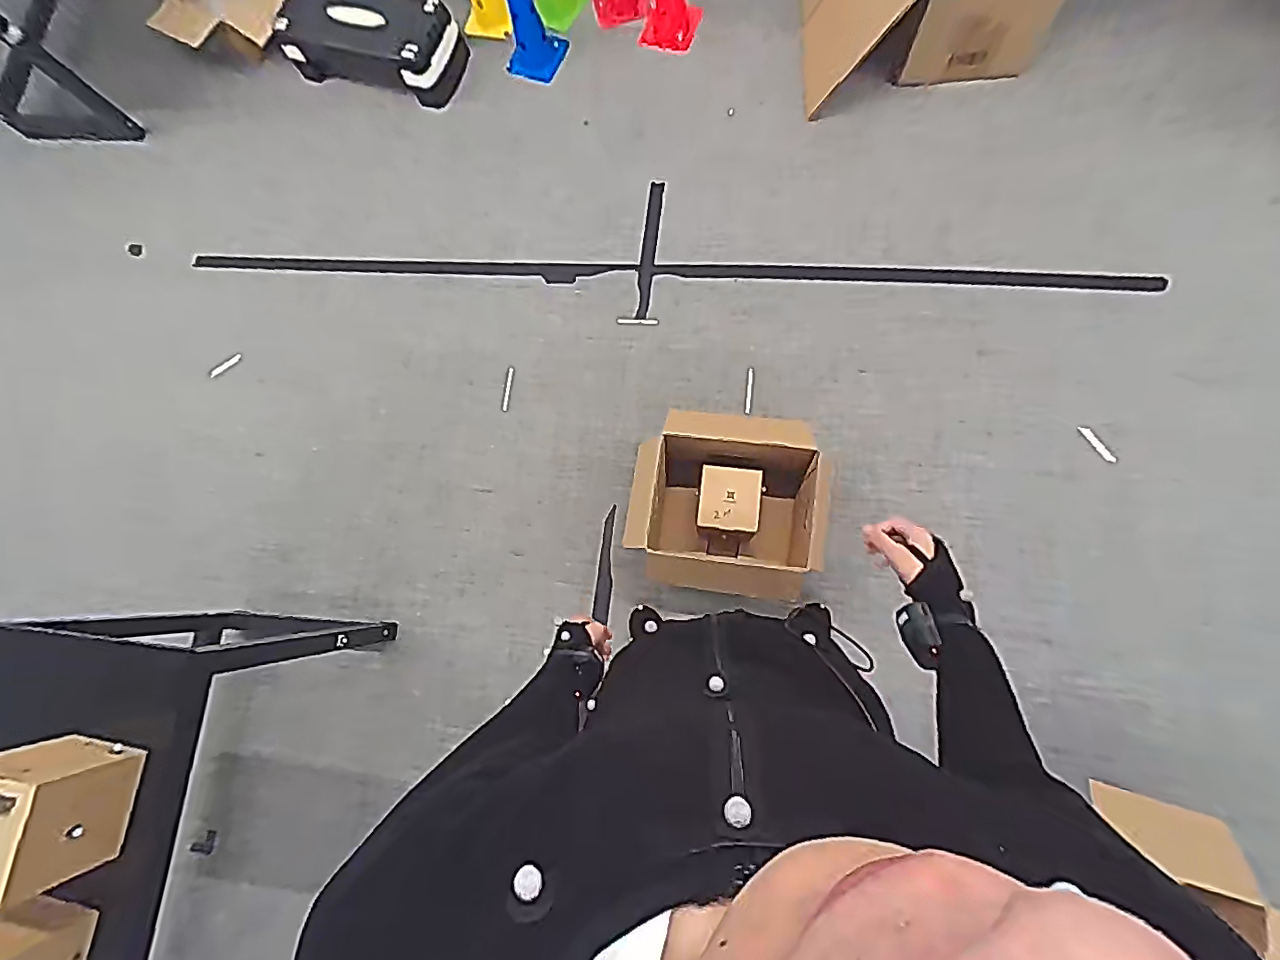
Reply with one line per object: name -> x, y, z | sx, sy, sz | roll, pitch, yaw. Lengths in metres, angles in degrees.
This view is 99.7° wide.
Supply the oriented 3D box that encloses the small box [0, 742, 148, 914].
small box -> -0.976, 0.556, 0.893 | 0.168, 0.176, 0.179 | 6, 81, 9
